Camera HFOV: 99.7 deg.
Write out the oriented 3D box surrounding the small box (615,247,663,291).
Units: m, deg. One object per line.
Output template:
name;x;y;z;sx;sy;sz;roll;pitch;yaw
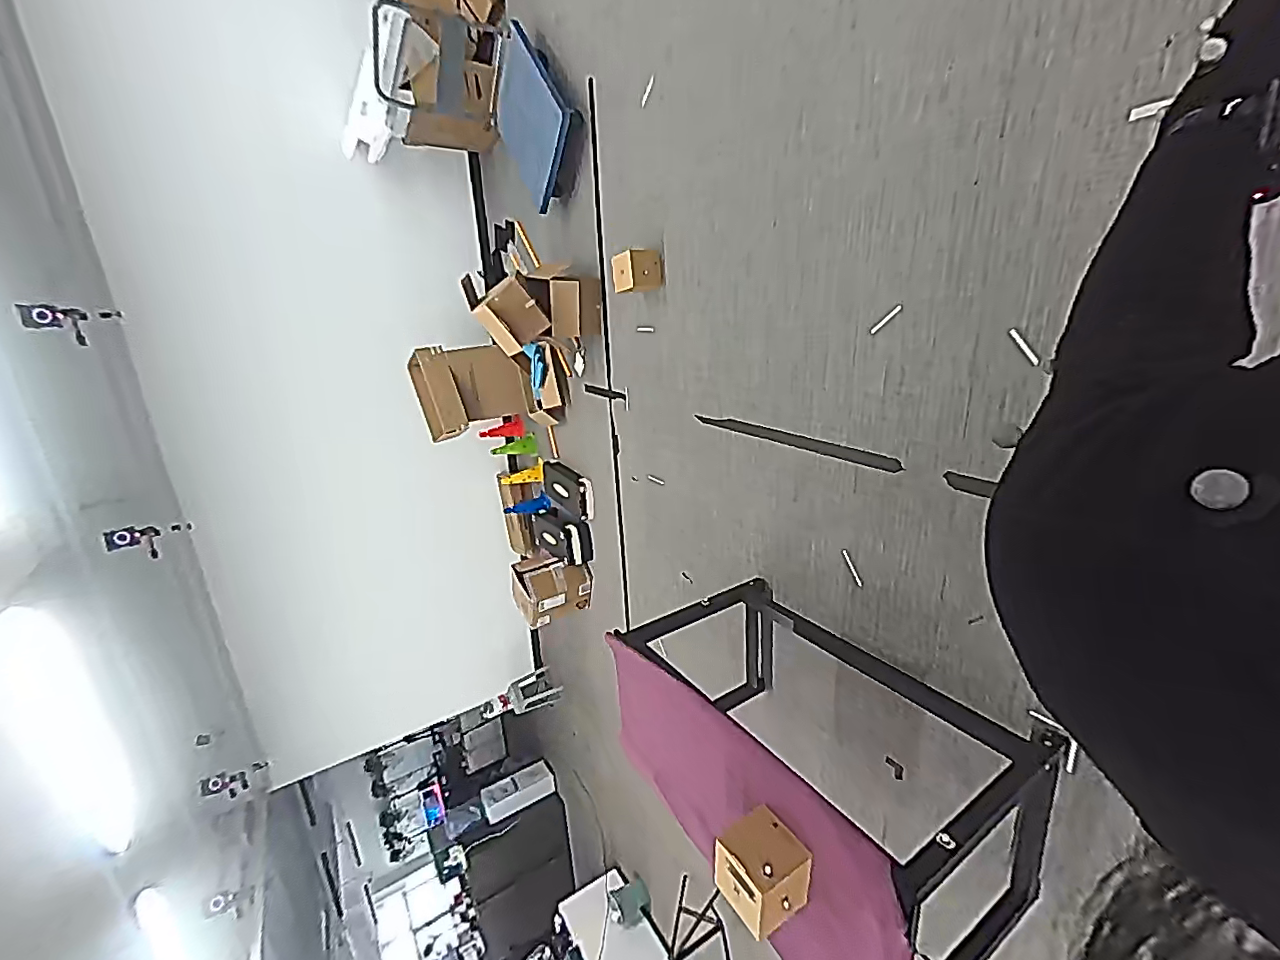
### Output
small box;0.001;-1.003;2.569;0.179;0.176;0.168;14;114;58
